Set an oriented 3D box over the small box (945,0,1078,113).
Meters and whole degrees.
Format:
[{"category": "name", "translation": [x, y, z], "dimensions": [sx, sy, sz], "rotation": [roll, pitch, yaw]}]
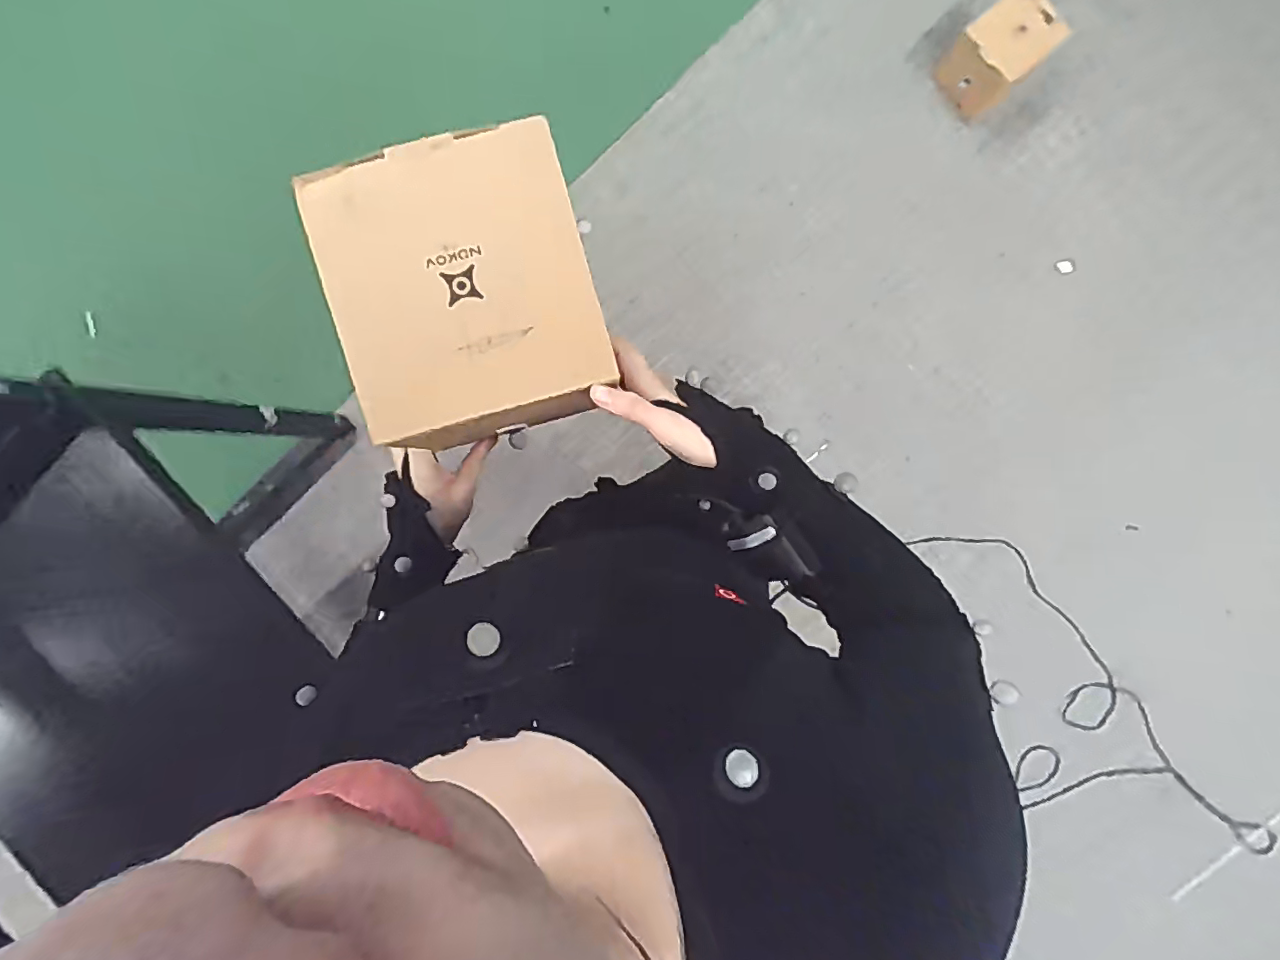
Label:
[{"category": "small box", "translation": [0.870, -1.037, 1.293], "dimensions": [0.179, 0.176, 0.168], "rotation": [-37, 90, 6]}]
